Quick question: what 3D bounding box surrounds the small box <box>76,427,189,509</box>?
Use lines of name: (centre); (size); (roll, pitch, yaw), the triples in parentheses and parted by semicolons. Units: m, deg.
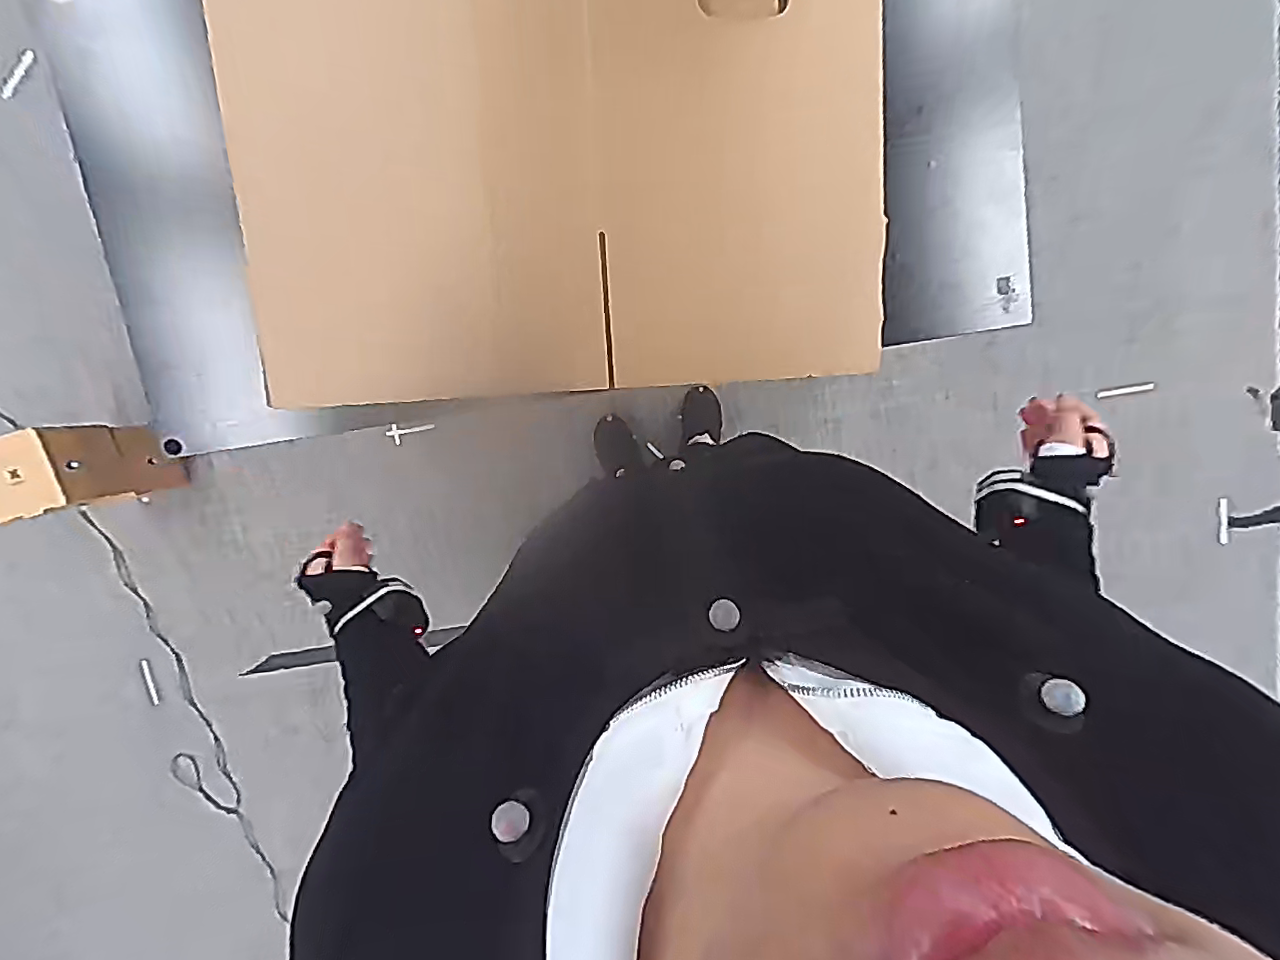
small box: (-1.331, -0.038, 1.397); (0.168, 0.176, 0.179); (-13, 99, 1)

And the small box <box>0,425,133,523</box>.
small box: (-1.330, -0.020, 1.235); (0.168, 0.176, 0.179); (-16, 98, 1)
